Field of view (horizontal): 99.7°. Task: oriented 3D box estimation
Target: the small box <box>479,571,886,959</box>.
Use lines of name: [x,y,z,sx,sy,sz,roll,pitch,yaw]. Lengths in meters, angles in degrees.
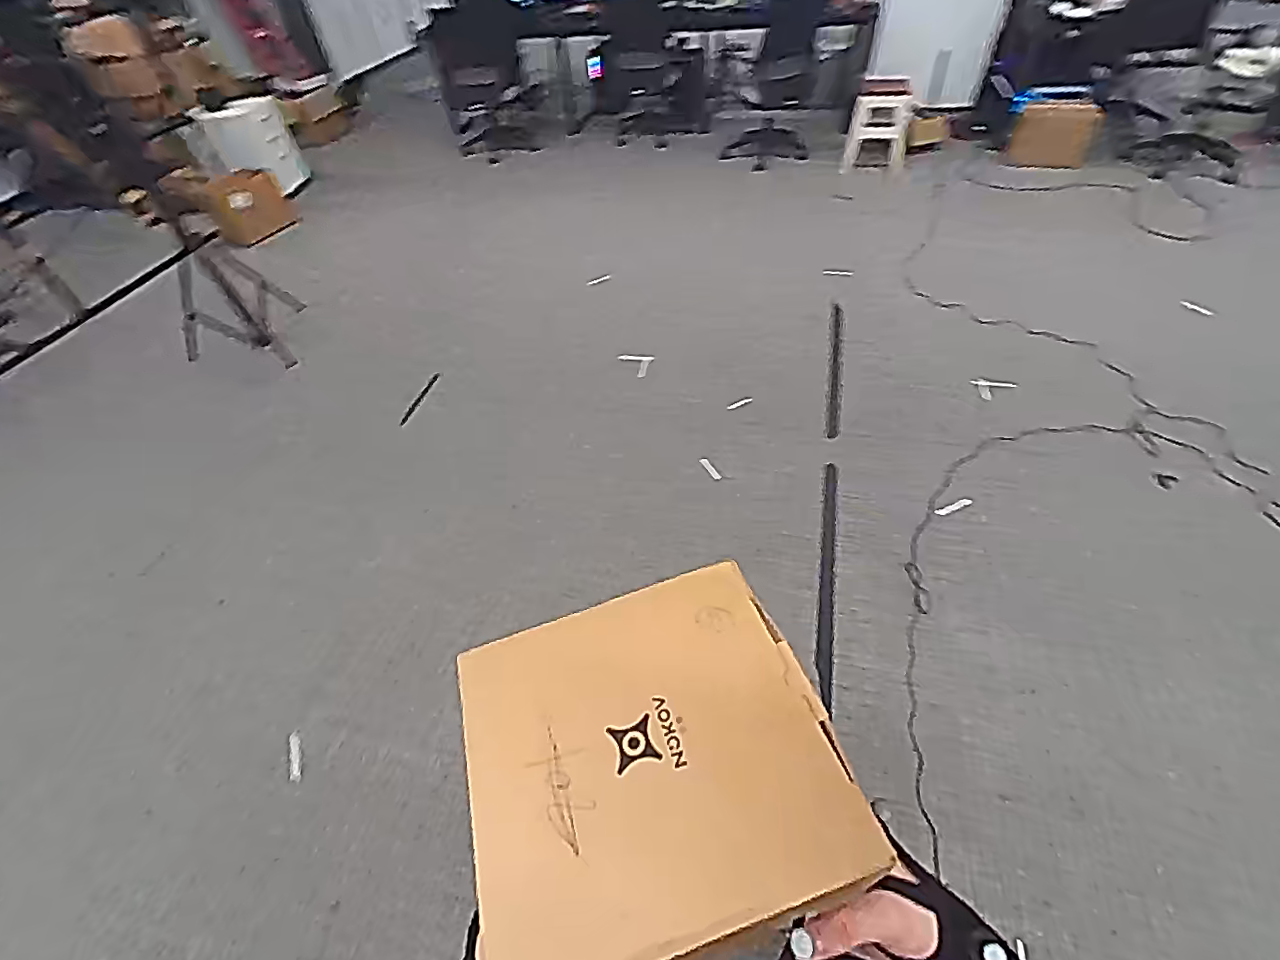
small box: [0.016,0.191,0.339,0.179,0.176,0.168,-18,45,-6]
